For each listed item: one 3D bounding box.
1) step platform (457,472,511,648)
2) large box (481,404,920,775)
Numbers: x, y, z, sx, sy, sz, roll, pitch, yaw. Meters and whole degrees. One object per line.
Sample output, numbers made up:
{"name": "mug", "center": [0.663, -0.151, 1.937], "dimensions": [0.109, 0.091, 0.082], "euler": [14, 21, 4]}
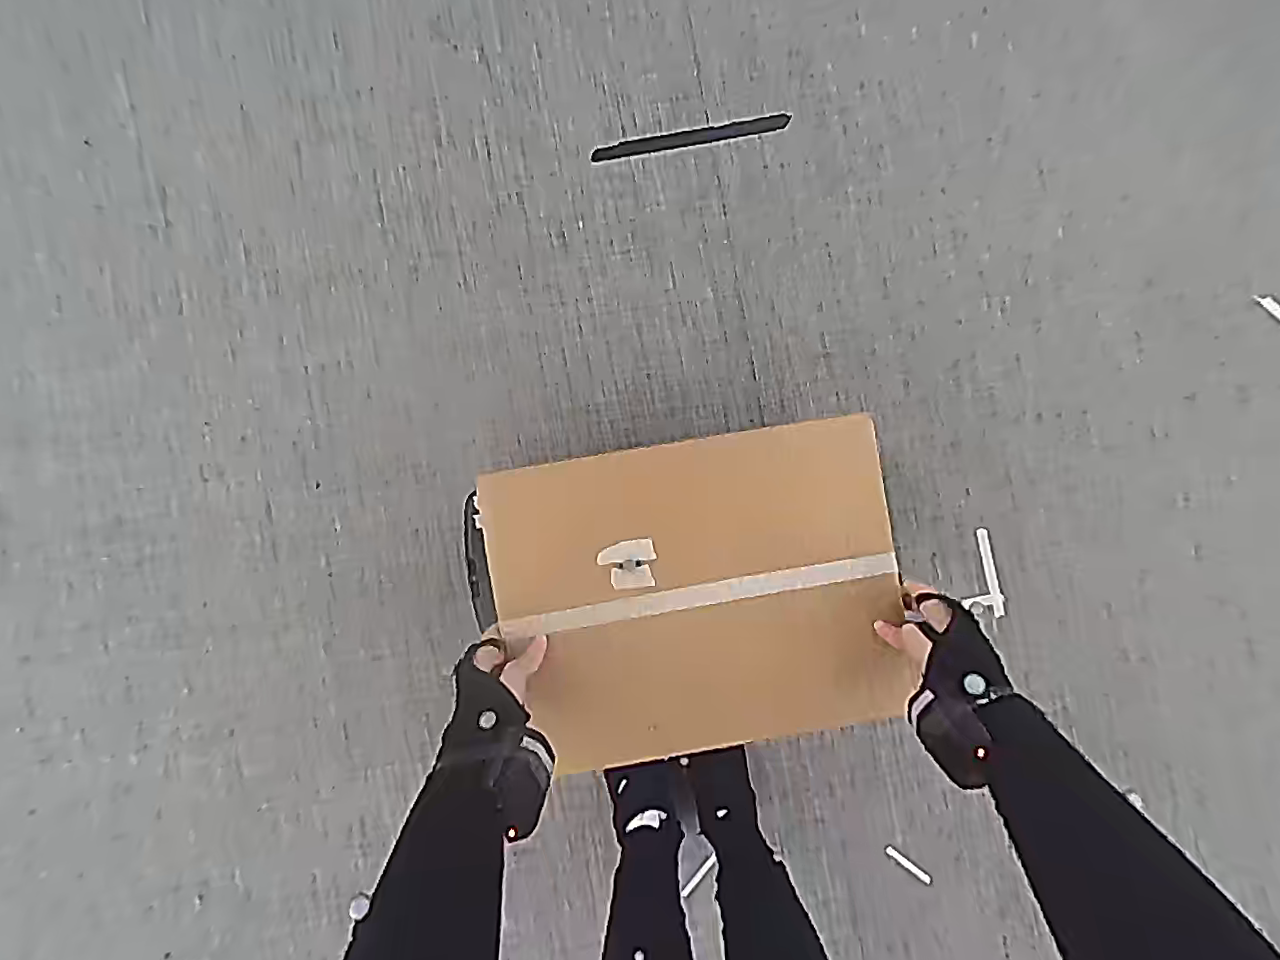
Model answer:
{"name": "step platform", "center": [0.045, 0.110, 0.928], "dimensions": [0.684, 0.204, 0.286], "euler": [-4, 89, -1]}
{"name": "large box", "center": [0.062, 0.107, 0.688], "dimensions": [0.408, 0.320, 0.320], "euler": [-10, 90, -1]}
